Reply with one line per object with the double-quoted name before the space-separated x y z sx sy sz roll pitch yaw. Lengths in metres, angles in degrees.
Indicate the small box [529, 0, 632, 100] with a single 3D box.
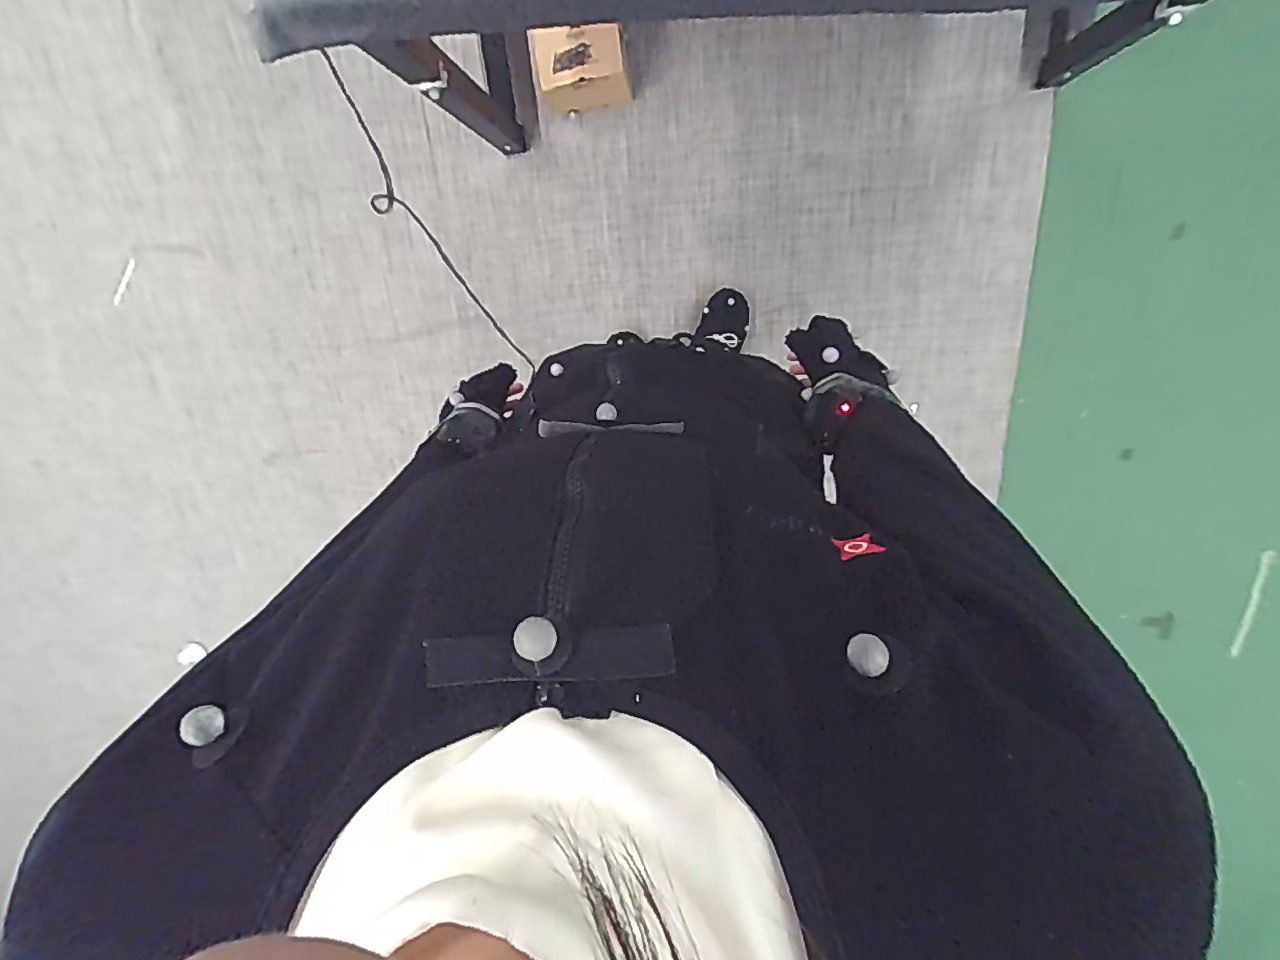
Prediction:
"small box" -0.113 -0.889 1.080 0.168 0.176 0.179 -6 108 7
